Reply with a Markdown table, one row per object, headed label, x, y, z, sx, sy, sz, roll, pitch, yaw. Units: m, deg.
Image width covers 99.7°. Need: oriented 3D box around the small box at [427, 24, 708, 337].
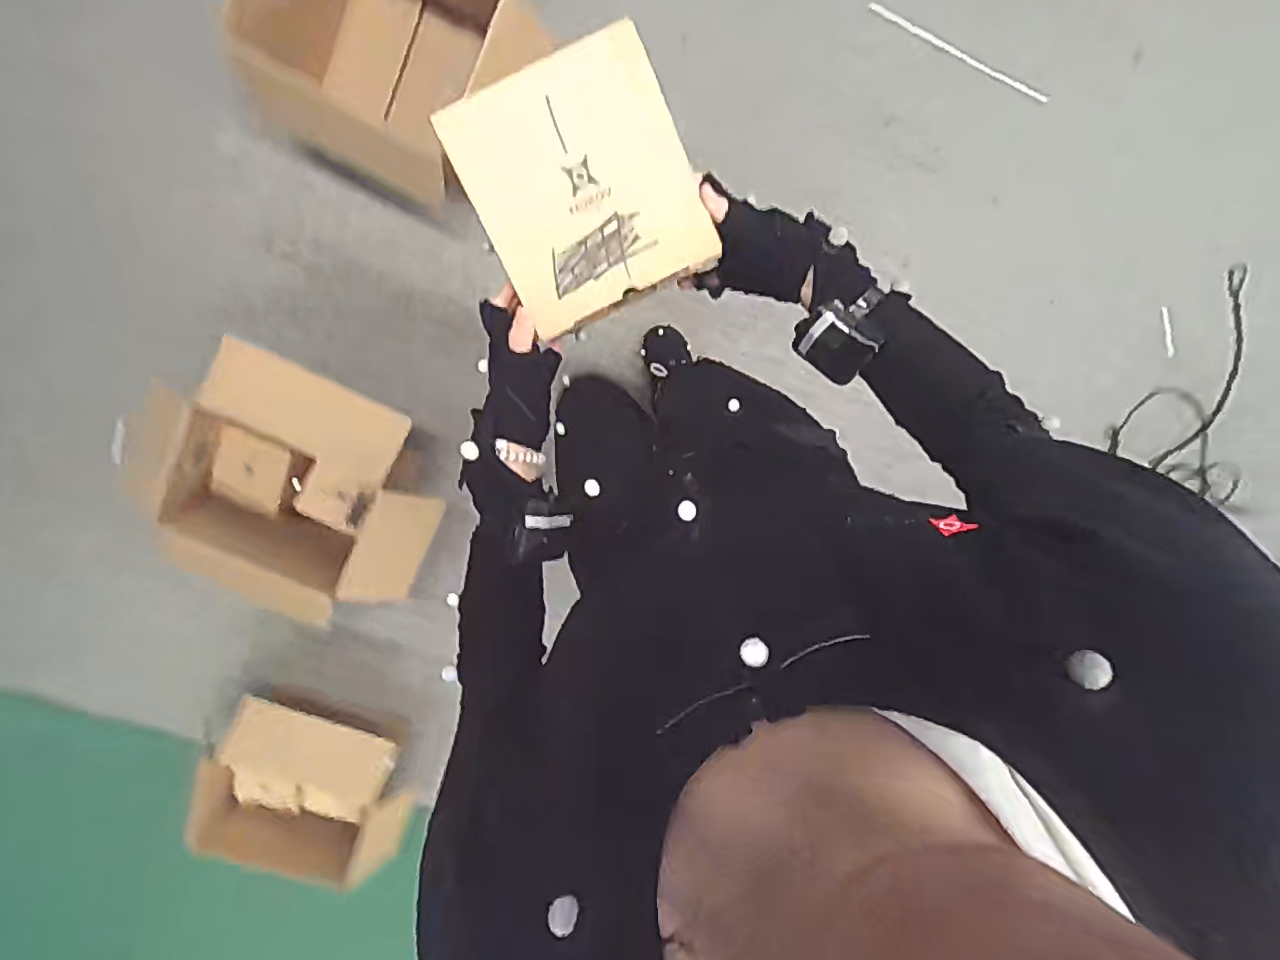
| label | x | y | z | sx | sy | sz | roll | pitch | yaw |
| --- | --- | --- | --- | --- | --- | --- | --- | --- | --- |
| small box | -0.057 | -0.246 | 0.497 | 0.168 | 0.176 | 0.179 | -27 | 104 | 1 |
